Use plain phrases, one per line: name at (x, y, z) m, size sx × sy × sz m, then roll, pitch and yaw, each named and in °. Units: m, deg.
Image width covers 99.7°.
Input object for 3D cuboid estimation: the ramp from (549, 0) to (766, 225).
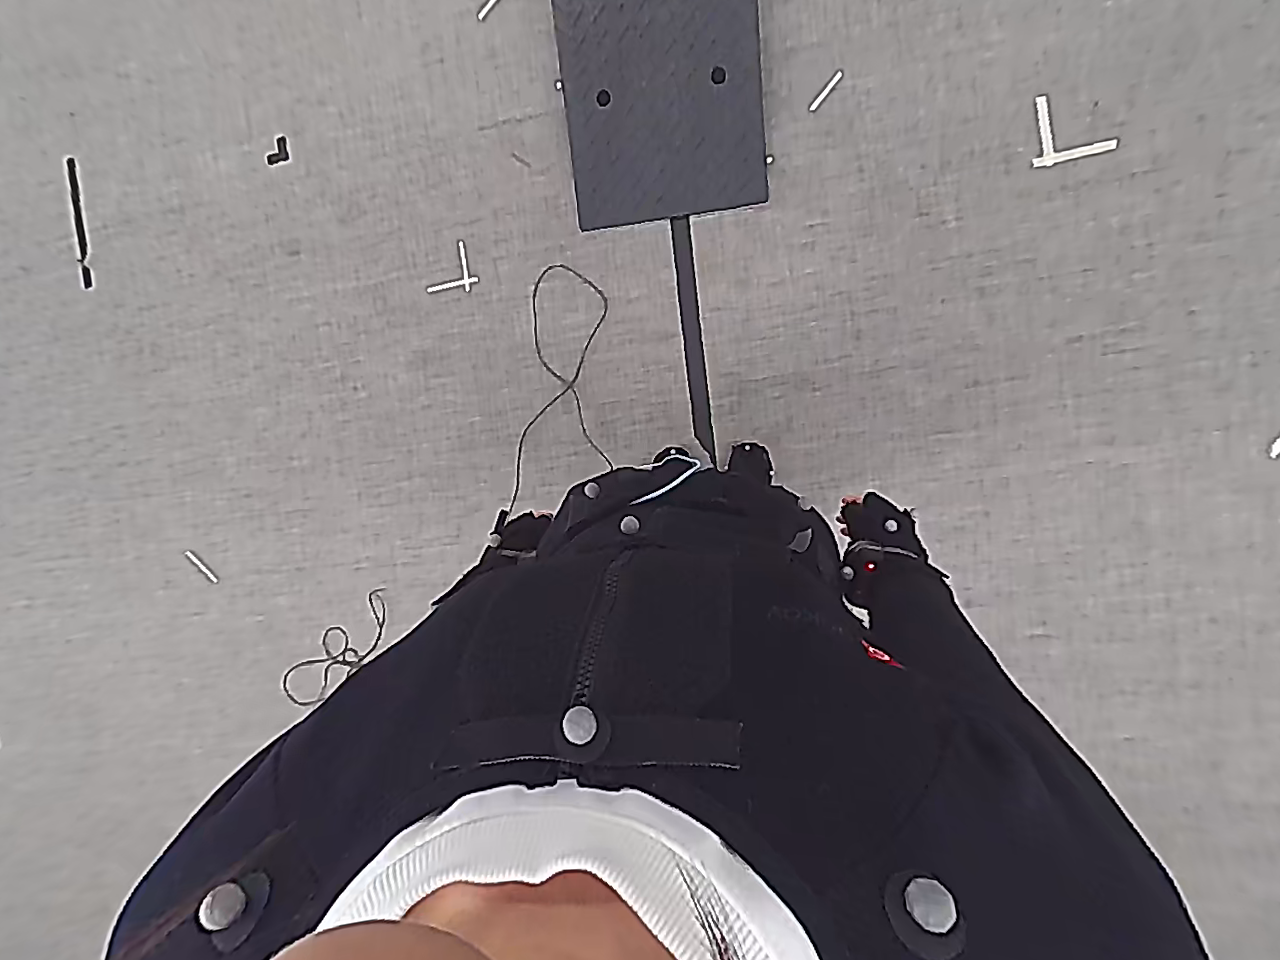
ramp at (0.023, -1.174, 1.276) m, size 0.509 × 0.206 × 0.991 m, roll -6°, pitch 94°, yaw 9°
